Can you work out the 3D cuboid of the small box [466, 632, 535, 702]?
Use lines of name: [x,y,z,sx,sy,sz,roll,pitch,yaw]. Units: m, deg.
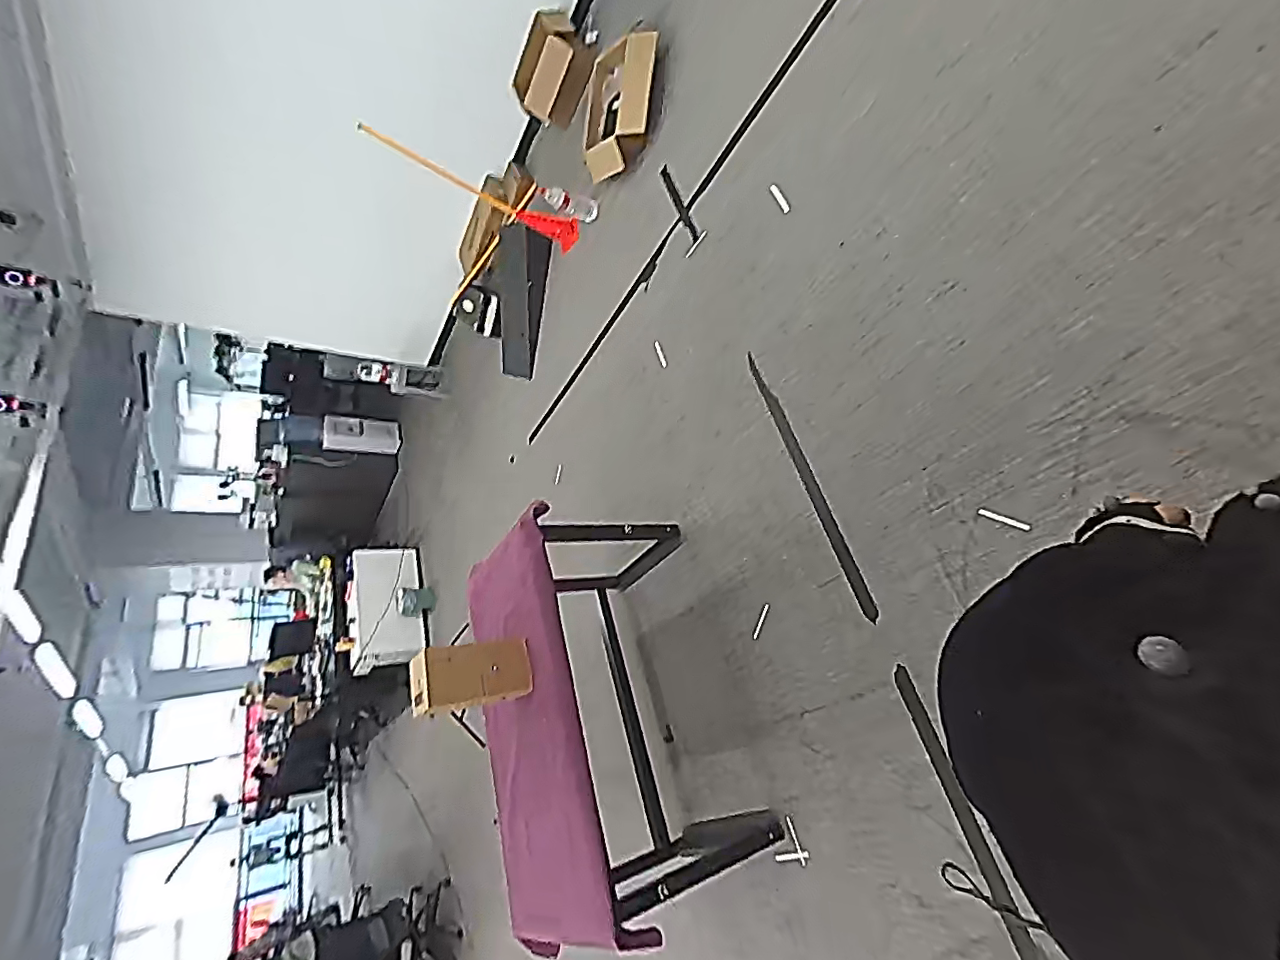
small box: [-0.460,0.616,1.786,0.168,0.176,0.179,-41,55,43]
